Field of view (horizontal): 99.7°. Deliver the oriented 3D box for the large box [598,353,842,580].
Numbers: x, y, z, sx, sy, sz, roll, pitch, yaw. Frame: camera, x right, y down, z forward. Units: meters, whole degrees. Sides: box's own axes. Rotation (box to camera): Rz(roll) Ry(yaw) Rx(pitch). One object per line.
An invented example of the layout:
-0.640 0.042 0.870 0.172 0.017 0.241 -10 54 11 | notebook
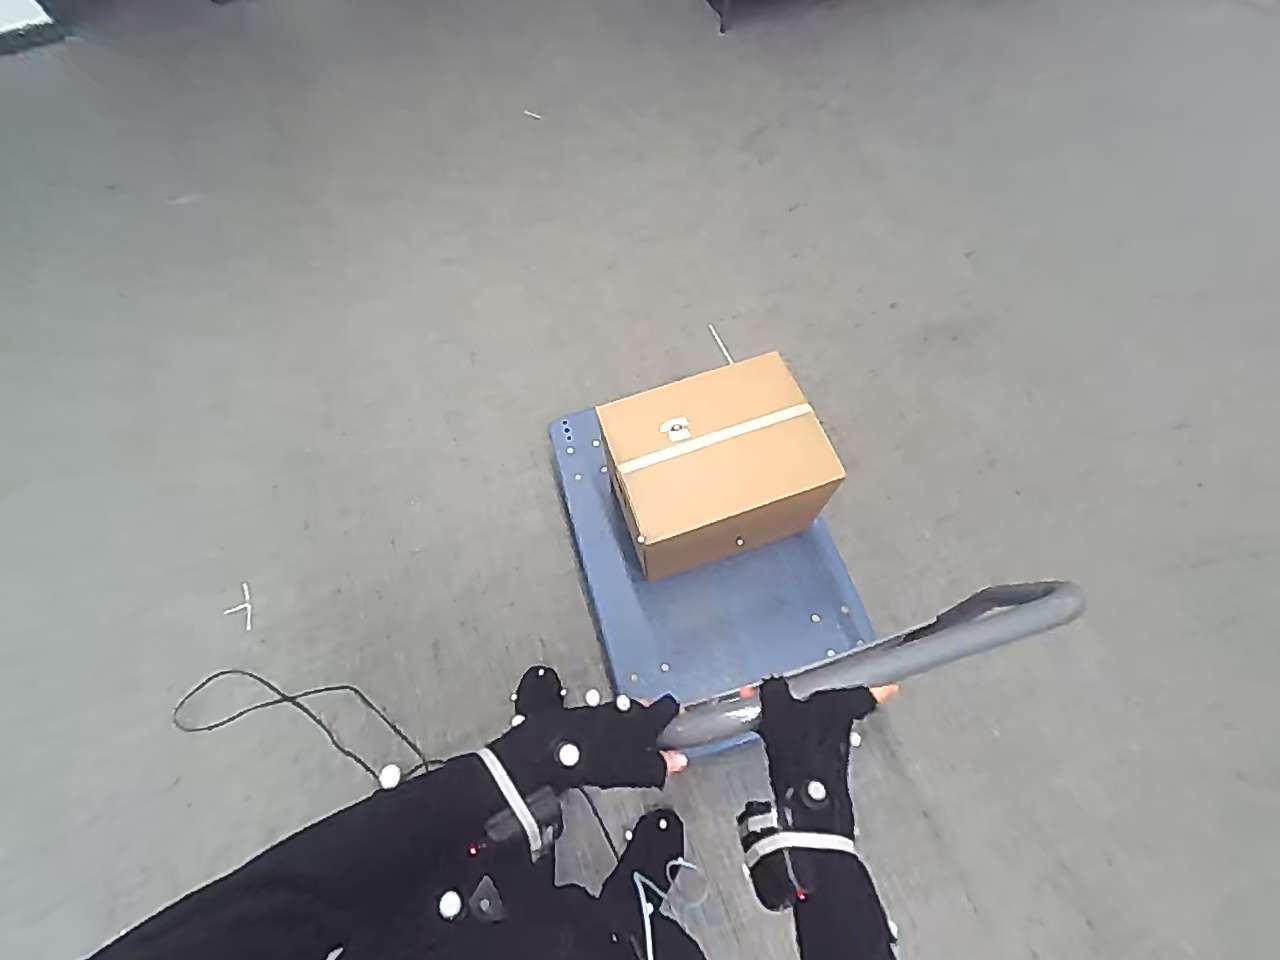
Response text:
0.158 -0.016 1.201 0.408 0.320 0.320 -20 67 -5 | large box
